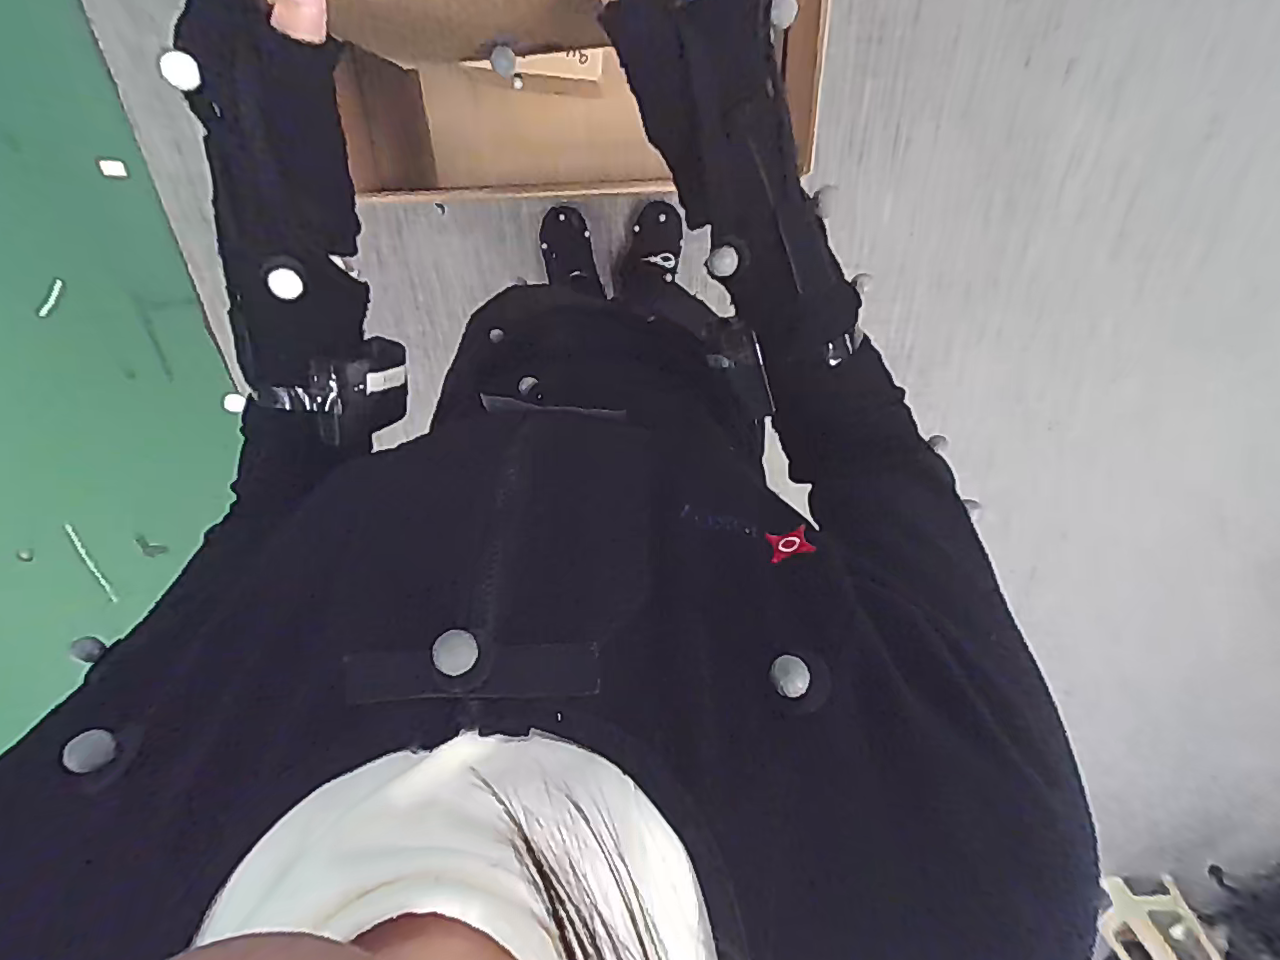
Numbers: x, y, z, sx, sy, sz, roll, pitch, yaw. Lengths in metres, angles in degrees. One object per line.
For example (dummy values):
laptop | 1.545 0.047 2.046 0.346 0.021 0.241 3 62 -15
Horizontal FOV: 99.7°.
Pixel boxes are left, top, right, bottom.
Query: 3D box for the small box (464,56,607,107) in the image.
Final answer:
small box | -0.122 -0.577 0.655 0.168 0.176 0.179 4 118 -3

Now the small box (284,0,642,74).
small box | -0.087 -0.319 0.253 0.168 0.176 0.179 -5 119 2
